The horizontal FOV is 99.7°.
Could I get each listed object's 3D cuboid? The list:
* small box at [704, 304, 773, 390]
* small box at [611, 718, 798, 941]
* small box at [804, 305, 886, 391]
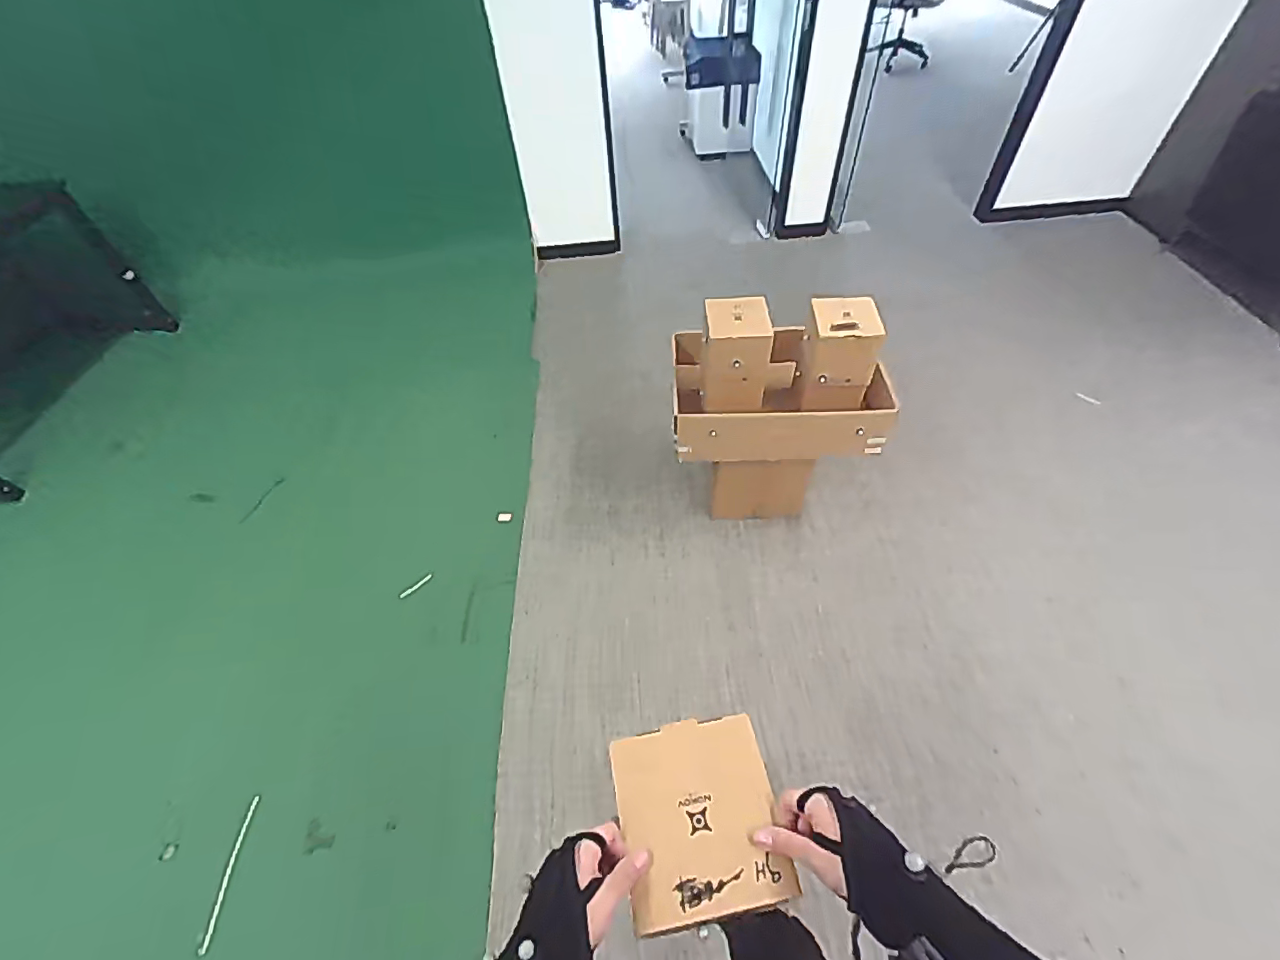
[{"bbox_3d":[0.269,-0.364,1.502,0.168,0.176,0.179,-1,52,2],"label":"small box"},{"bbox_3d":[0.060,0.403,0.624,0.168,0.176,0.179,-8,49,-5],"label":"small box"},{"bbox_3d":[0.551,-0.357,1.480,0.168,0.176,0.179,1,50,6],"label":"small box"}]
